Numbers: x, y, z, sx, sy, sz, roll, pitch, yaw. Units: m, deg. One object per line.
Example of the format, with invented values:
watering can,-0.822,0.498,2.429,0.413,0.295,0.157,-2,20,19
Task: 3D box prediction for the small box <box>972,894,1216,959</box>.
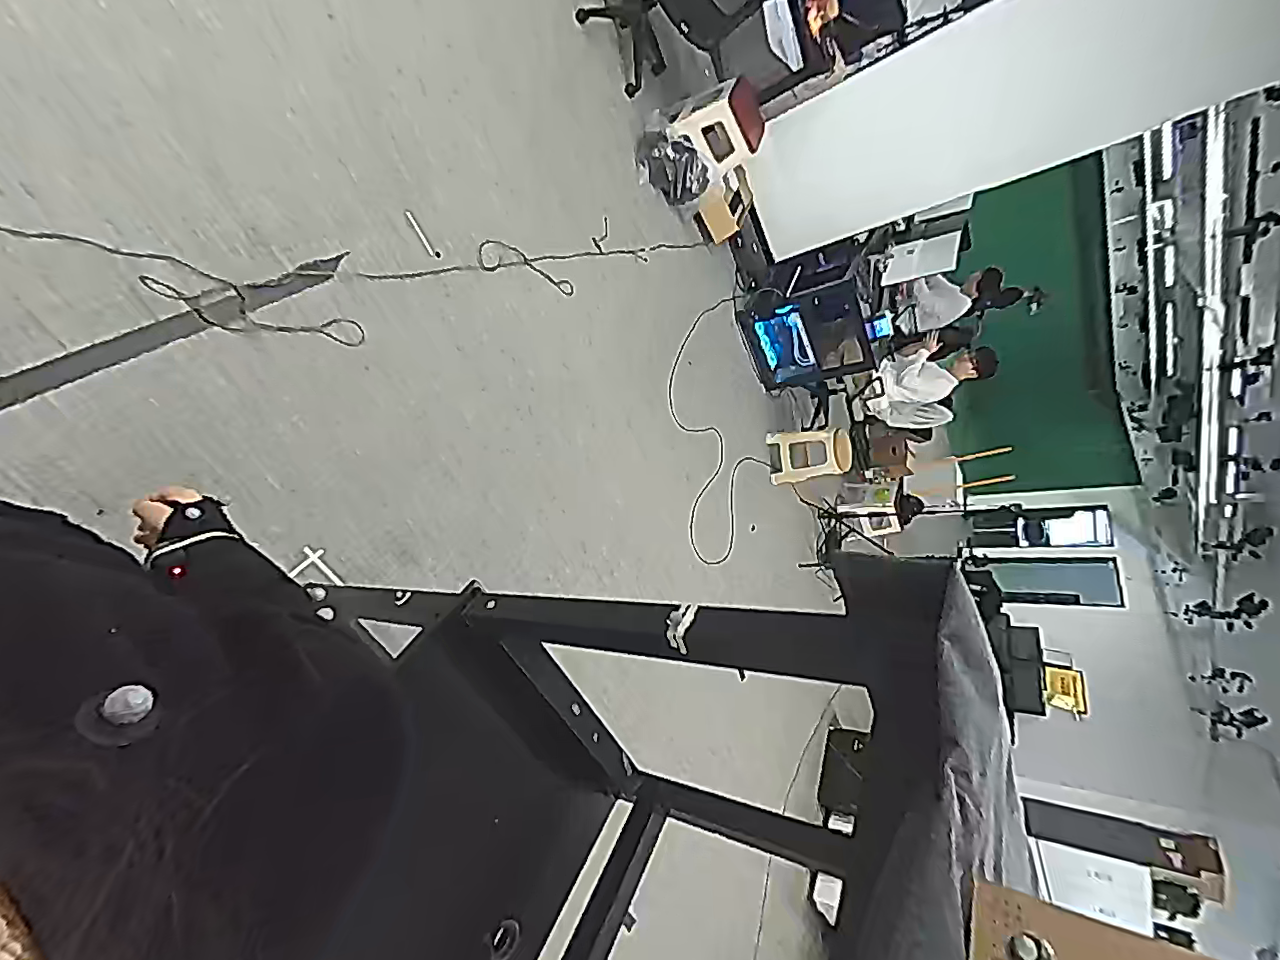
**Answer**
small box,0.287,0.380,0.307,0.168,0.176,0.179,-55,128,-39
